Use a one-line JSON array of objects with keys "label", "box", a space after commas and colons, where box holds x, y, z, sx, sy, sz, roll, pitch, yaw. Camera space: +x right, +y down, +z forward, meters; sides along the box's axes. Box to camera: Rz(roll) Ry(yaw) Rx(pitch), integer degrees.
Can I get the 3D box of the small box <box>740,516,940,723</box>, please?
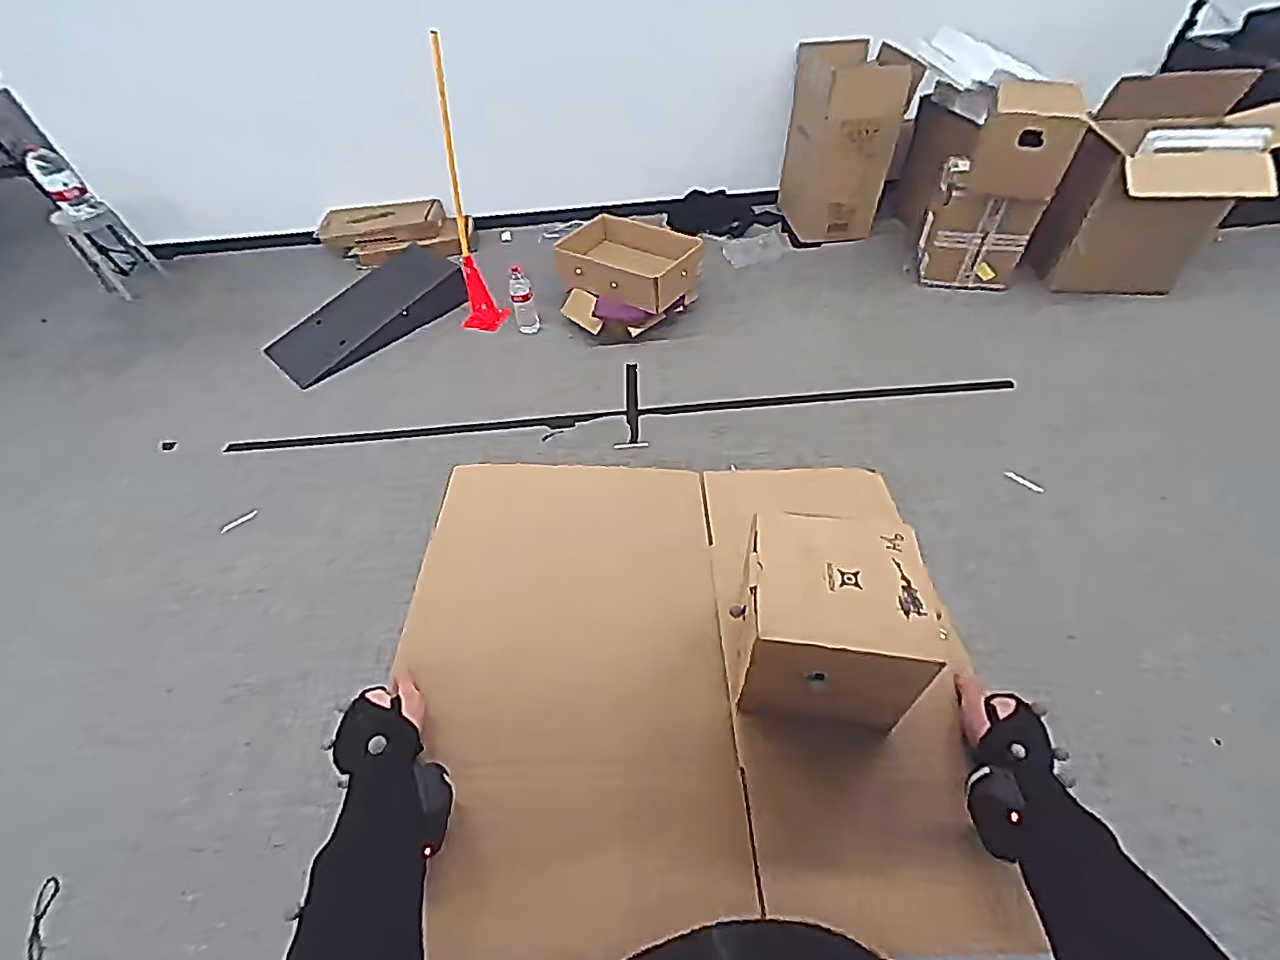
[{"label": "small box", "box": [0.210, 0.162, 0.624, 0.179, 0.176, 0.168, 5, 46, 7]}]
